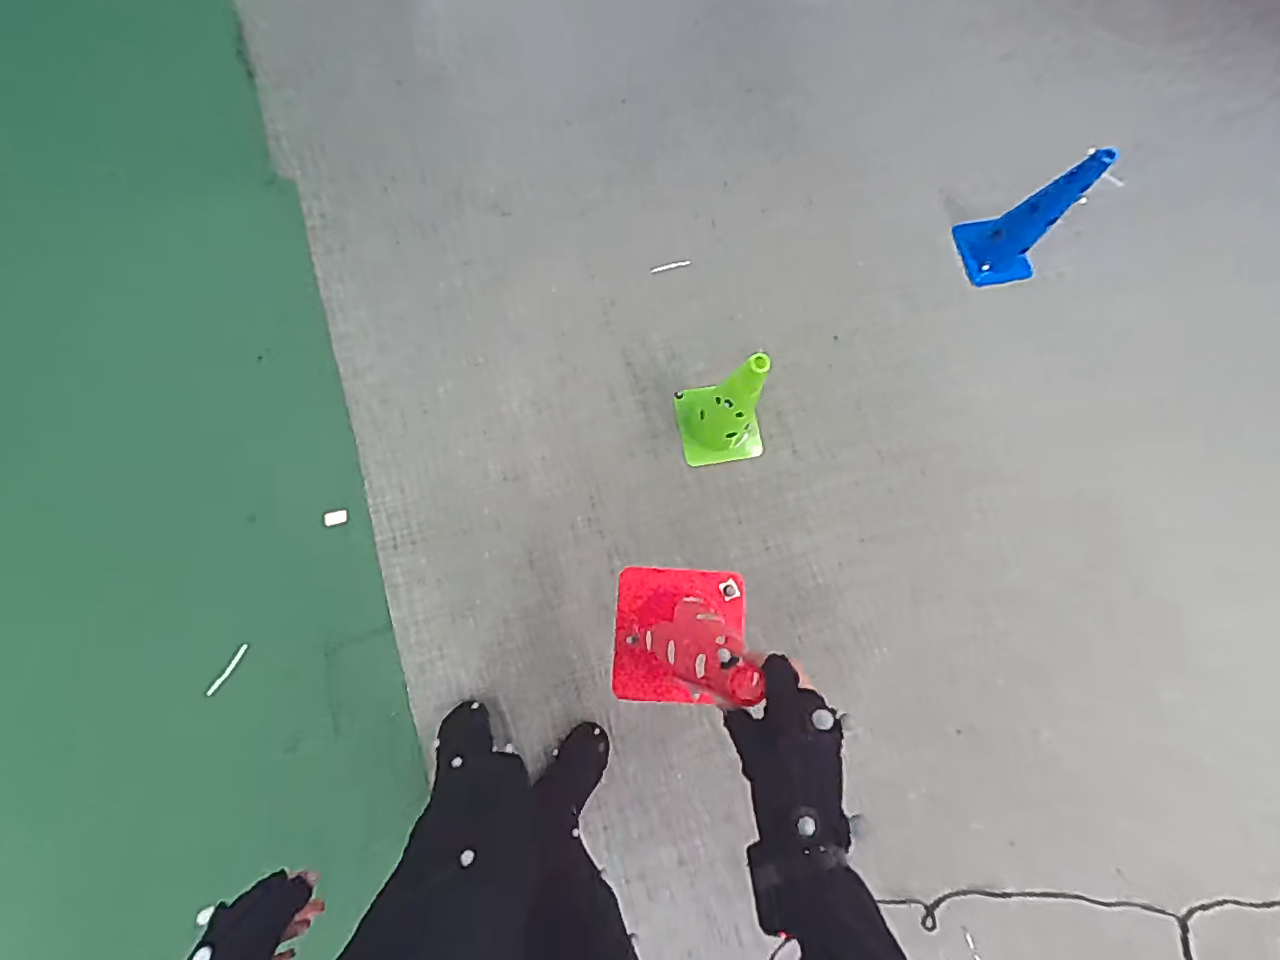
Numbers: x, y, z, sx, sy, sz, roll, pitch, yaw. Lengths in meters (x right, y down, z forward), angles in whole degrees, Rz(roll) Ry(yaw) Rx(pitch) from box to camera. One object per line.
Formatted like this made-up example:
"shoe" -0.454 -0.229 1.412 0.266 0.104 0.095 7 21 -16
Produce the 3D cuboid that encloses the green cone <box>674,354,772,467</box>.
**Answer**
"green cone" 0.214 -0.178 1.205 0.202 0.368 0.200 -10 78 -8
